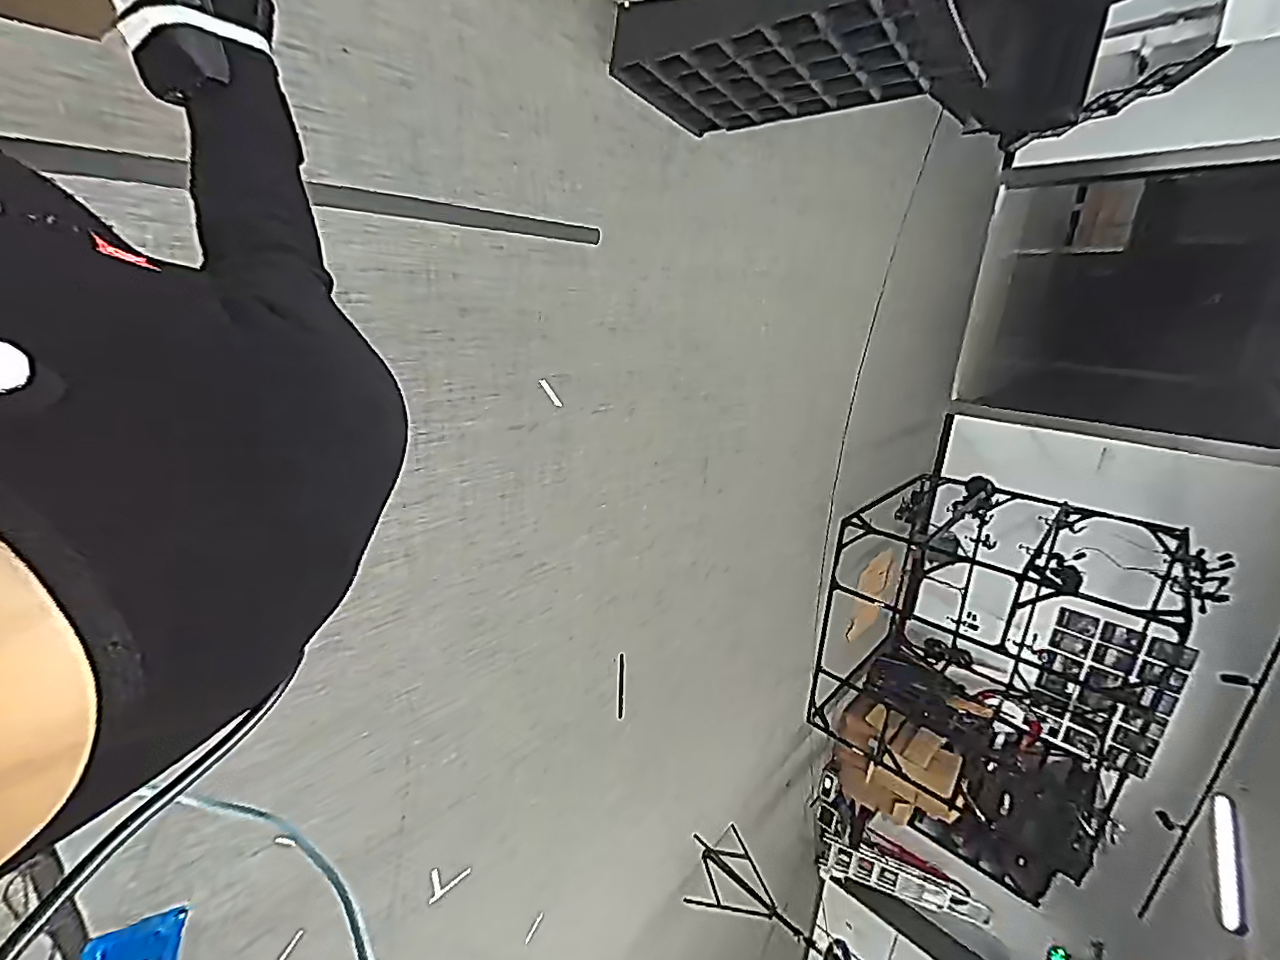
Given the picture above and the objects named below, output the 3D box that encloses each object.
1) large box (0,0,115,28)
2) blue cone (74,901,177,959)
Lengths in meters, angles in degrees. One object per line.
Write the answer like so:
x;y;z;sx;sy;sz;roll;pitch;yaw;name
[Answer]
-0.557;-0.489;0.256;0.408;0.320;0.320;-21;126;-46;large box
-1.185;1.228;1.261;0.193;0.380;0.192;14;94;-51;blue cone
